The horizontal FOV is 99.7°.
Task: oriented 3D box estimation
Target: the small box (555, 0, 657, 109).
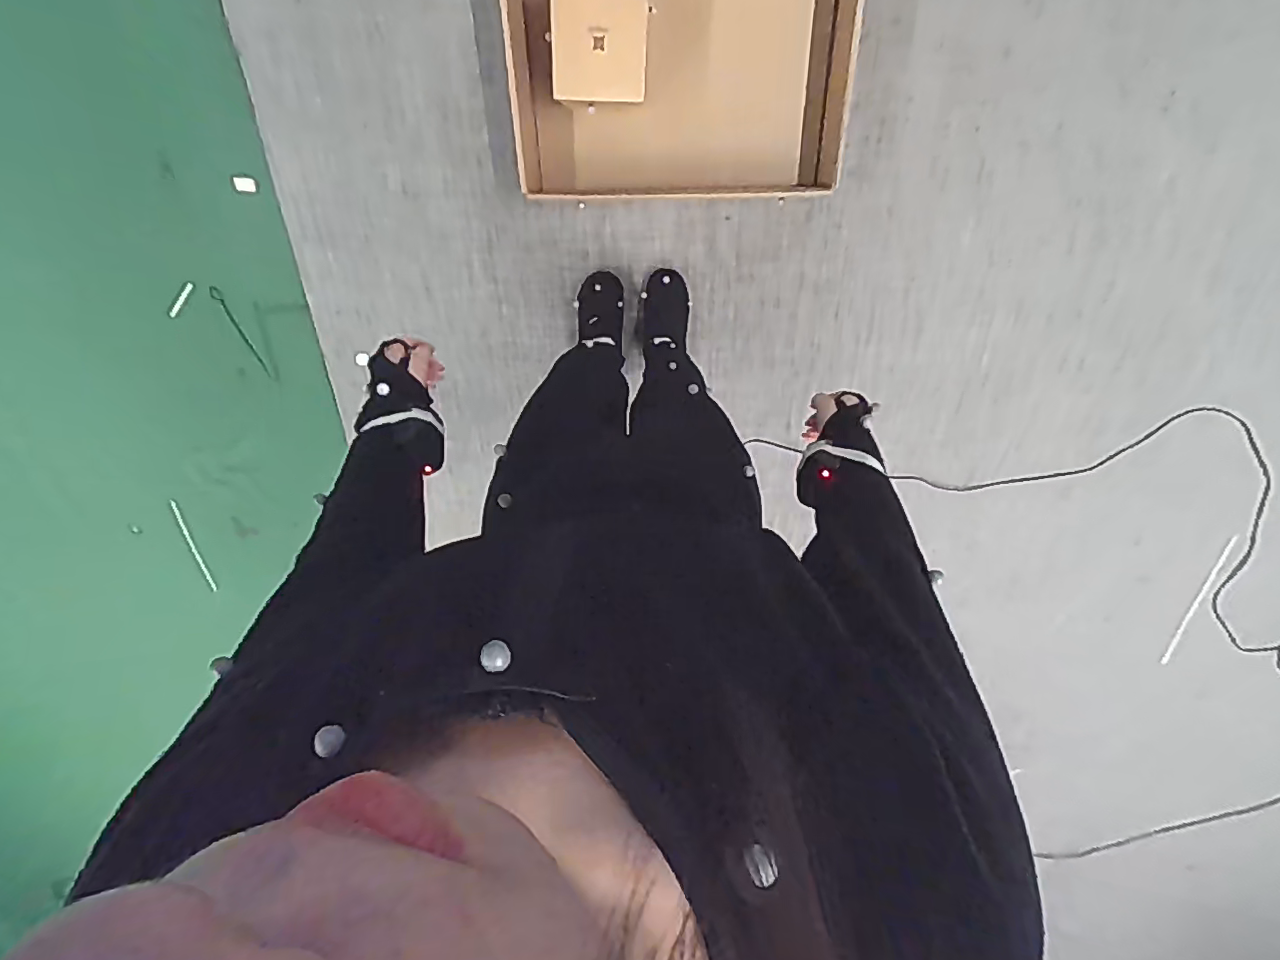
[{"bbox_3d":[-0.058,-0.795,0.990,0.168,0.176,0.179,4,119,2],"label":"small box"}]
